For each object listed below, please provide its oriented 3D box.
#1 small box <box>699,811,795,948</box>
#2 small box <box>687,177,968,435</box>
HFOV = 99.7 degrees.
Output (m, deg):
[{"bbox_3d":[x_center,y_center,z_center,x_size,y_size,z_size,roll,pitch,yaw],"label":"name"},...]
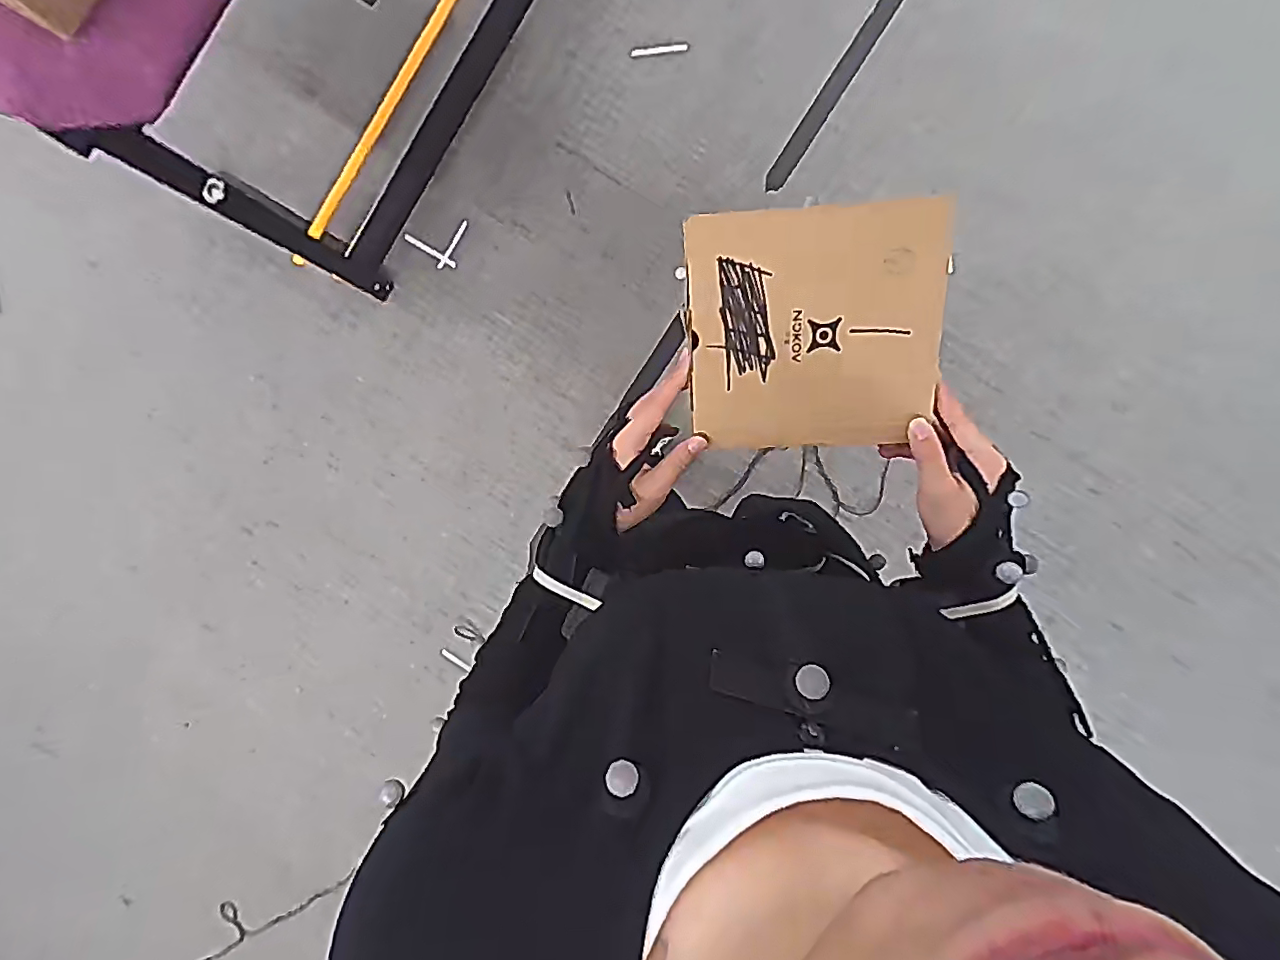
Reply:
[{"bbox_3d":[0.252,0.966,1.323,0.168,0.176,0.179,25,93,1],"label":"small box"},{"bbox_3d":[0.131,-0.136,0.445,0.179,0.176,0.168,-1,109,7],"label":"small box"}]
